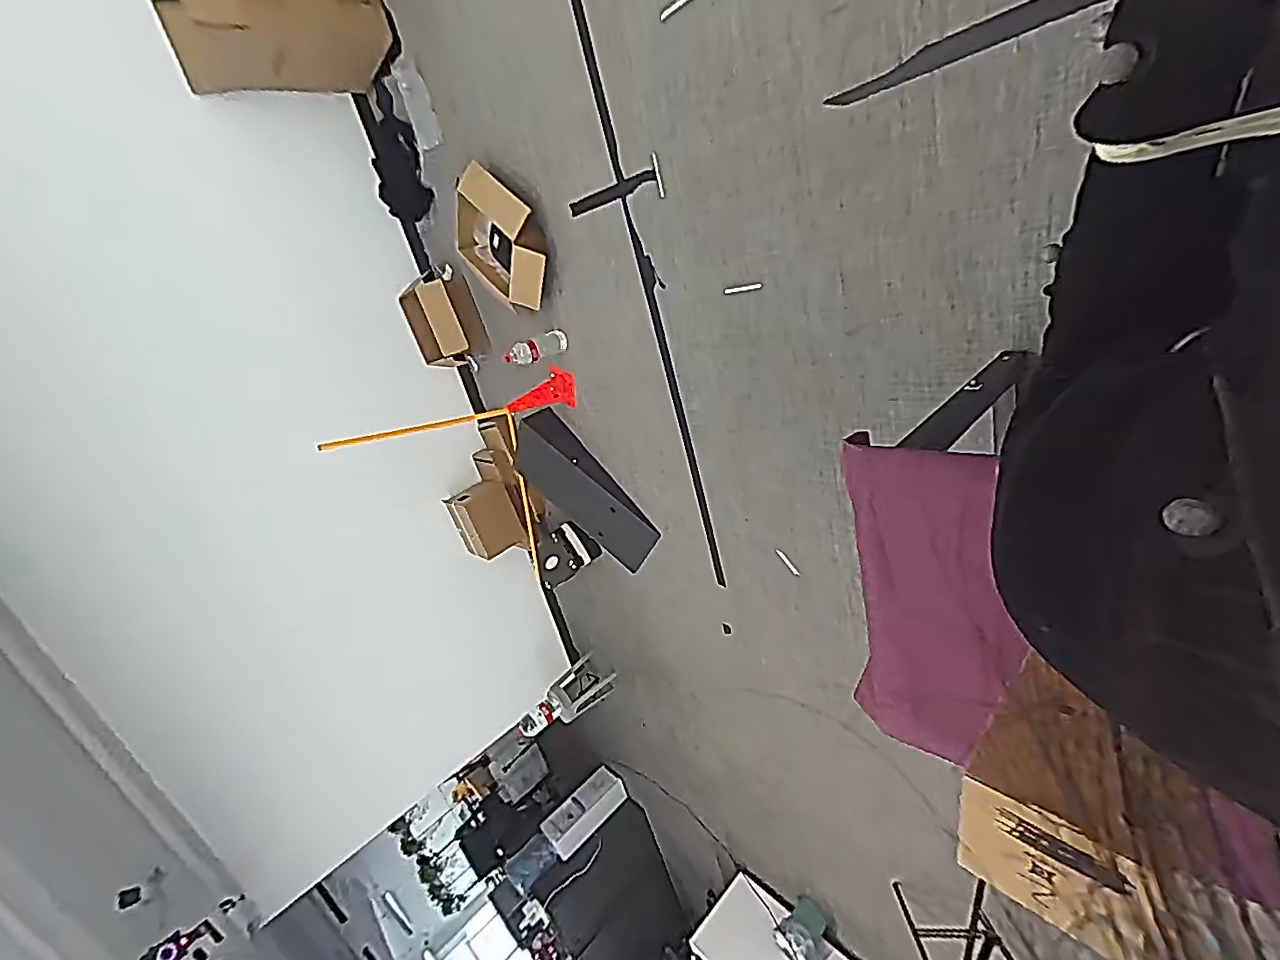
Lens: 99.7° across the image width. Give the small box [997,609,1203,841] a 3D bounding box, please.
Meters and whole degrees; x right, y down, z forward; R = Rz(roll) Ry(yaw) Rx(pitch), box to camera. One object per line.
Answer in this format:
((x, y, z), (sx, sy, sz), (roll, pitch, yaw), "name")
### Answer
((0.597, 0.306, 0.708), (0.168, 0.176, 0.179), (17, 128, 44), "small box")
